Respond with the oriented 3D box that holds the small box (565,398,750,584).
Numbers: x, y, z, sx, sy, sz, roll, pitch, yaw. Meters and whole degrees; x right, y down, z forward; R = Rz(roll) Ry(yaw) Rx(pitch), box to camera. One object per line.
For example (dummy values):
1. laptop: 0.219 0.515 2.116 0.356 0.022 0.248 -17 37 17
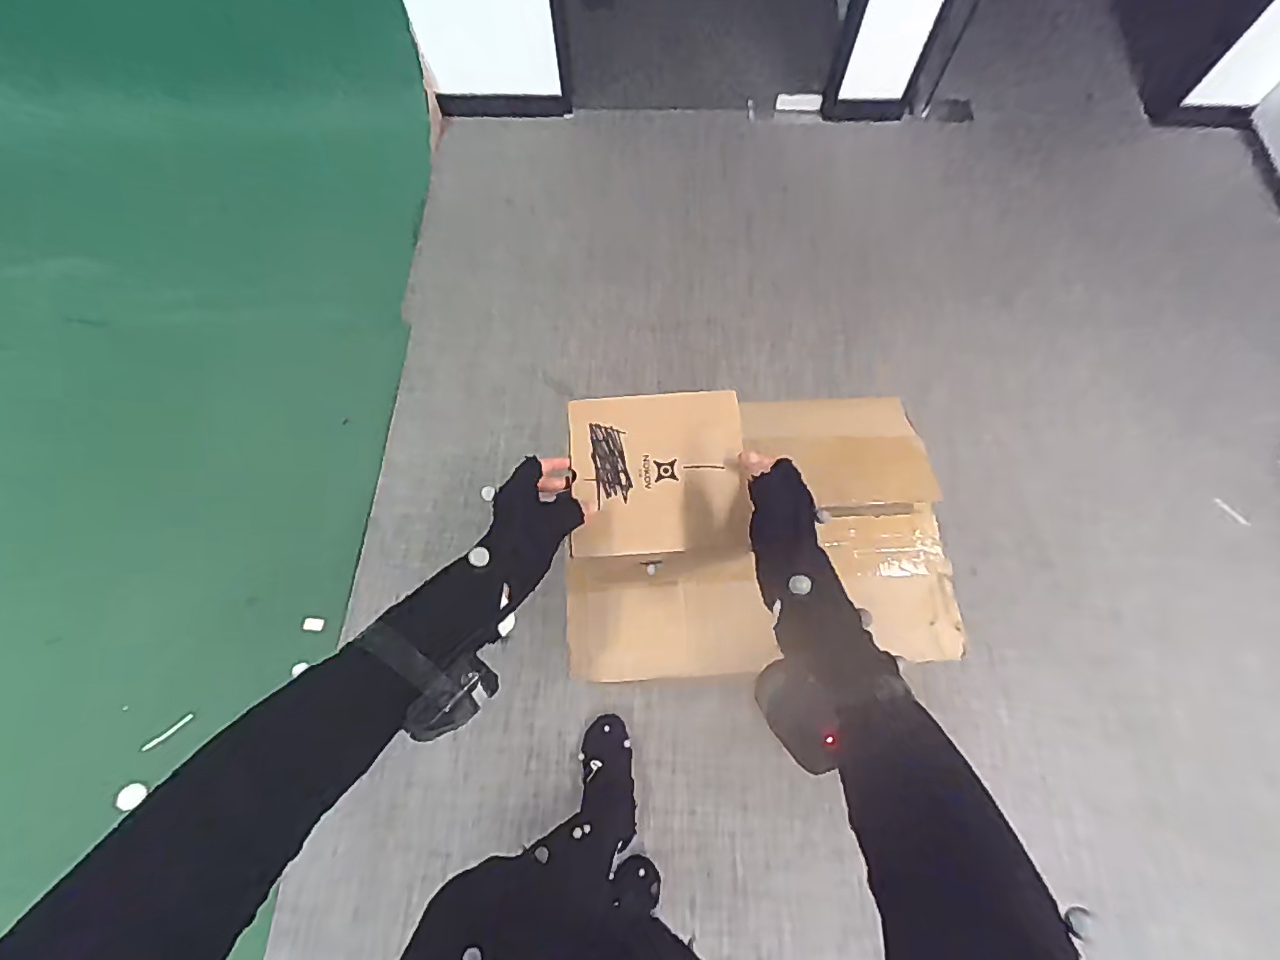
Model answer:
1. small box: 0.014 0.022 0.610 0.179 0.176 0.168 -3 71 -2
